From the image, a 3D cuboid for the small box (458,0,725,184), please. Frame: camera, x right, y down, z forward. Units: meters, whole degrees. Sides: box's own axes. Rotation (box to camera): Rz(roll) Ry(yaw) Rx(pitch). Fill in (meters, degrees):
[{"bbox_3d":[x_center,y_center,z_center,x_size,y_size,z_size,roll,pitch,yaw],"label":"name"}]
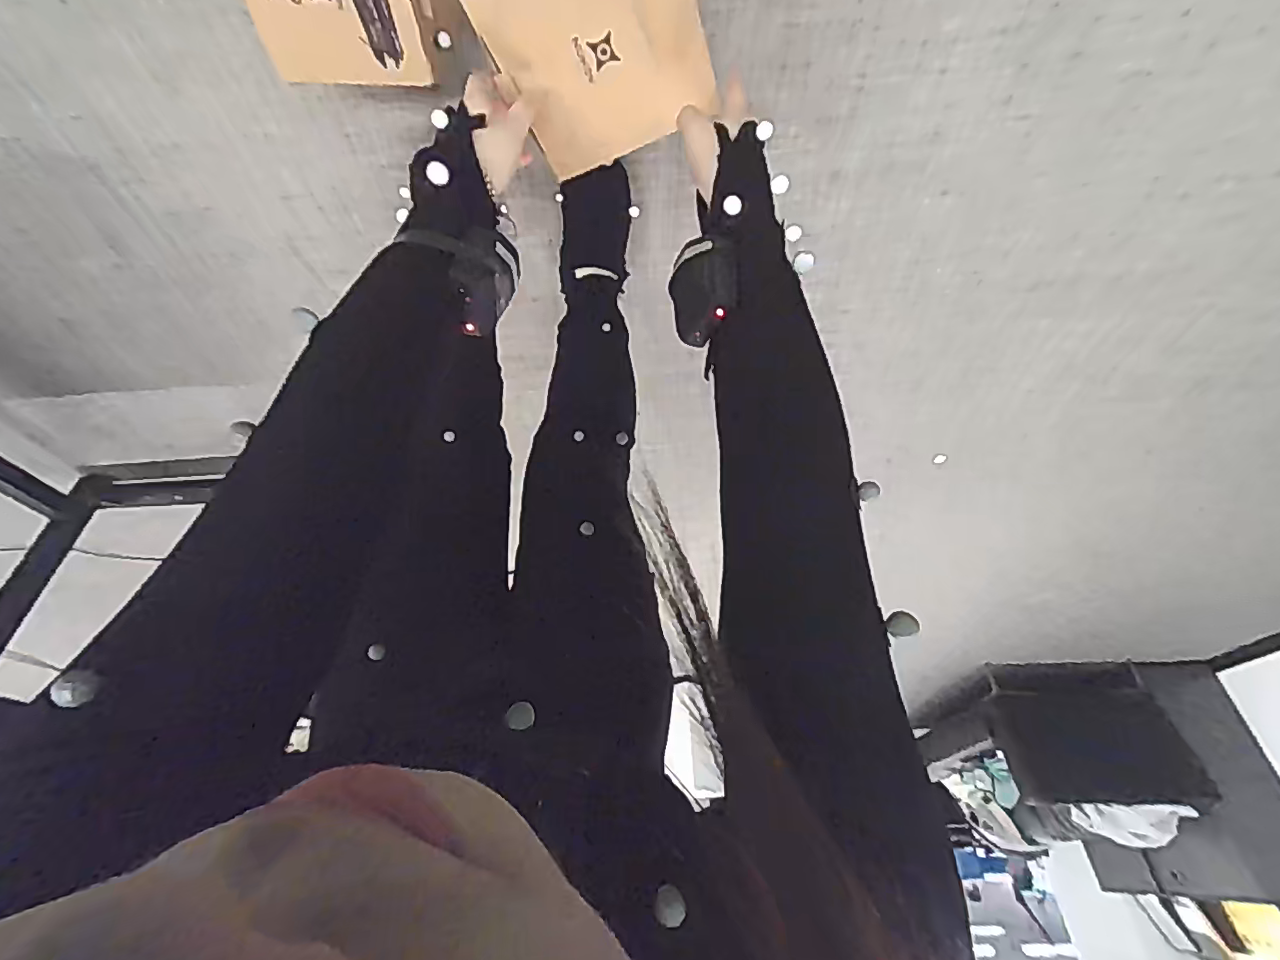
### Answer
[{"bbox_3d":[-0.034,-0.419,0.492,0.179,0.176,0.168,-15,145,18],"label":"small box"}]
